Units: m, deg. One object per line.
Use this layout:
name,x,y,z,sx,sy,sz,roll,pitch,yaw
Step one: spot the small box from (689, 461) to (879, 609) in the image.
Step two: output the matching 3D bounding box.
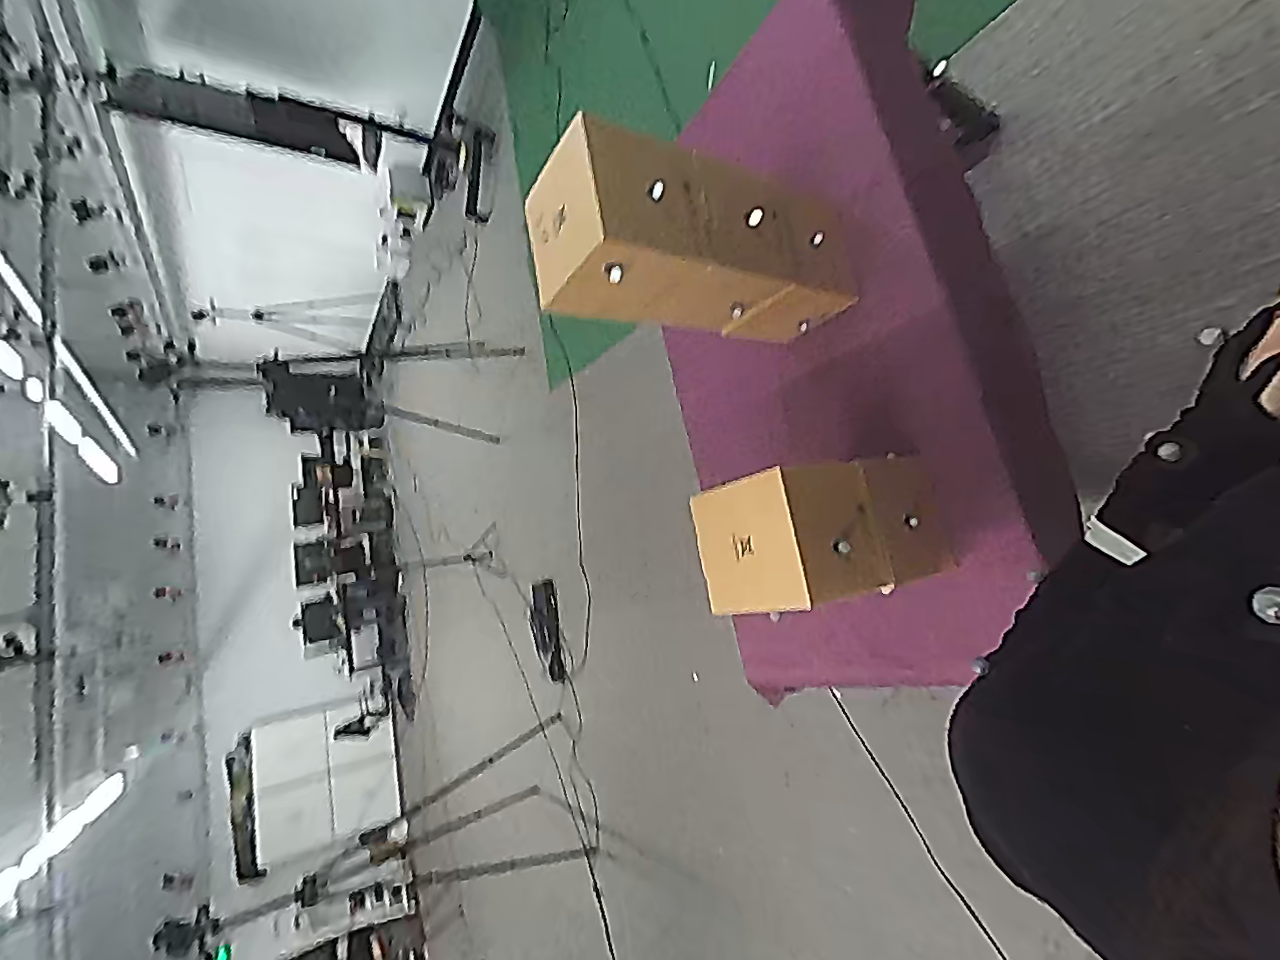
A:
small box,0.197,0.074,0.735,0.179,0.176,0.168,-25,73,54

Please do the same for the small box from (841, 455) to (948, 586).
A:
small box,0.332,0.066,0.827,0.168,0.176,0.179,-26,73,53

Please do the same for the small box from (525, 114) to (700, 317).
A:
small box,-0.034,-0.337,0.730,0.179,0.176,0.168,-21,77,54

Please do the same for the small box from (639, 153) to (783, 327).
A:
small box,0.099,-0.350,0.827,0.179,0.176,0.168,-18,79,53
